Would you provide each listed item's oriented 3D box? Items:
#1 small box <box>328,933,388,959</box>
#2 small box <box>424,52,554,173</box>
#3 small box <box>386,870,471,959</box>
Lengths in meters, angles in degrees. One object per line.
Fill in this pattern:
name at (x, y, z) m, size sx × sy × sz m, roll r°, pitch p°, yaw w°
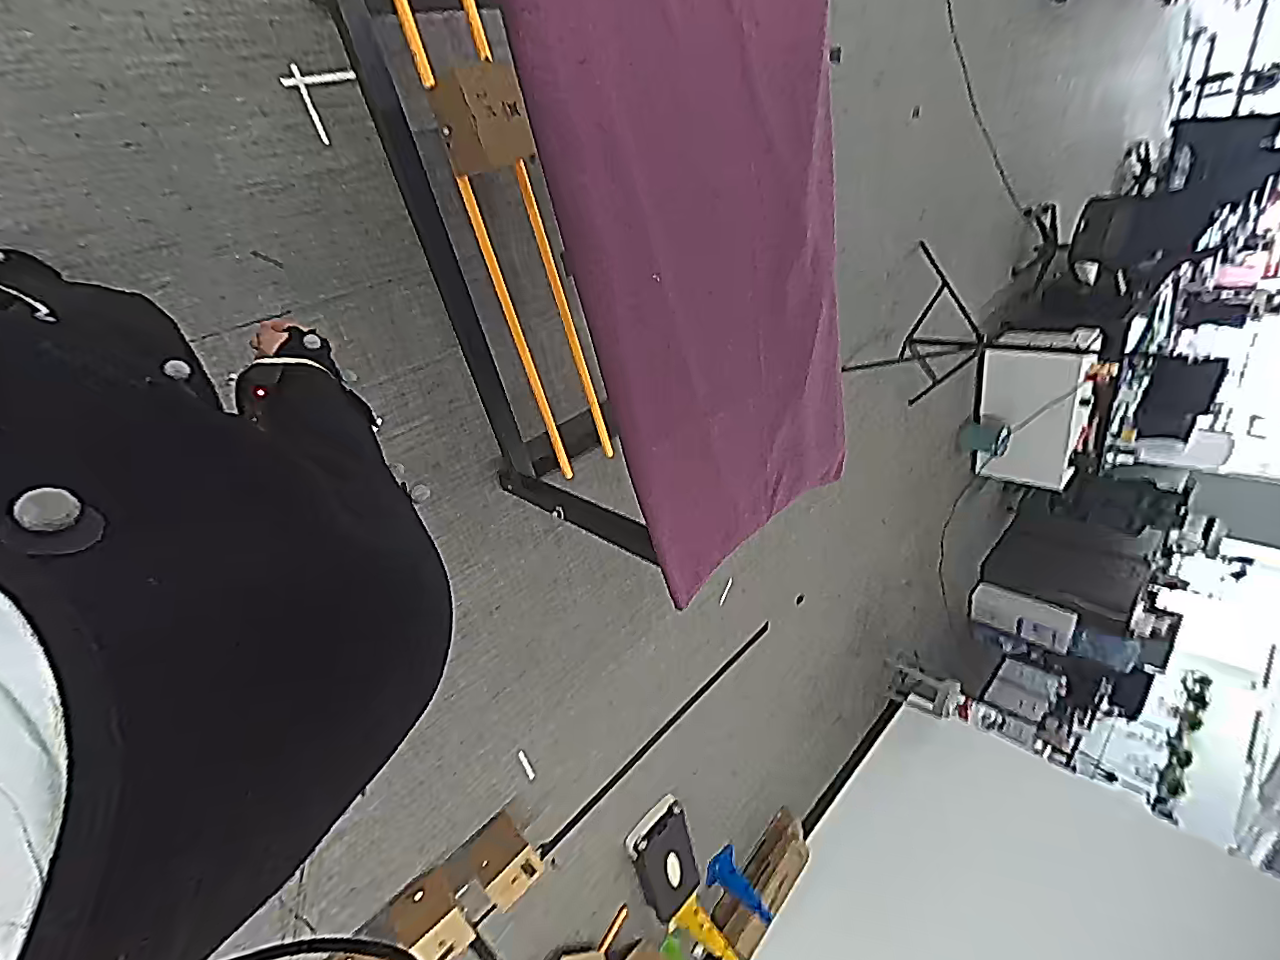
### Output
small box at (-0.820, 1.475, 1.560) m, size 0.168 × 0.176 × 0.179 m, roll -32°, pitch 123°, yaw -30°
small box at (-0.315, -0.762, 1.130) m, size 0.179 × 0.176 × 0.168 m, roll -35°, pitch 125°, yaw -27°
small box at (-0.655, 1.365, 1.671) m, size 0.168 × 0.176 × 0.179 m, roll -30°, pitch 121°, yaw -32°
